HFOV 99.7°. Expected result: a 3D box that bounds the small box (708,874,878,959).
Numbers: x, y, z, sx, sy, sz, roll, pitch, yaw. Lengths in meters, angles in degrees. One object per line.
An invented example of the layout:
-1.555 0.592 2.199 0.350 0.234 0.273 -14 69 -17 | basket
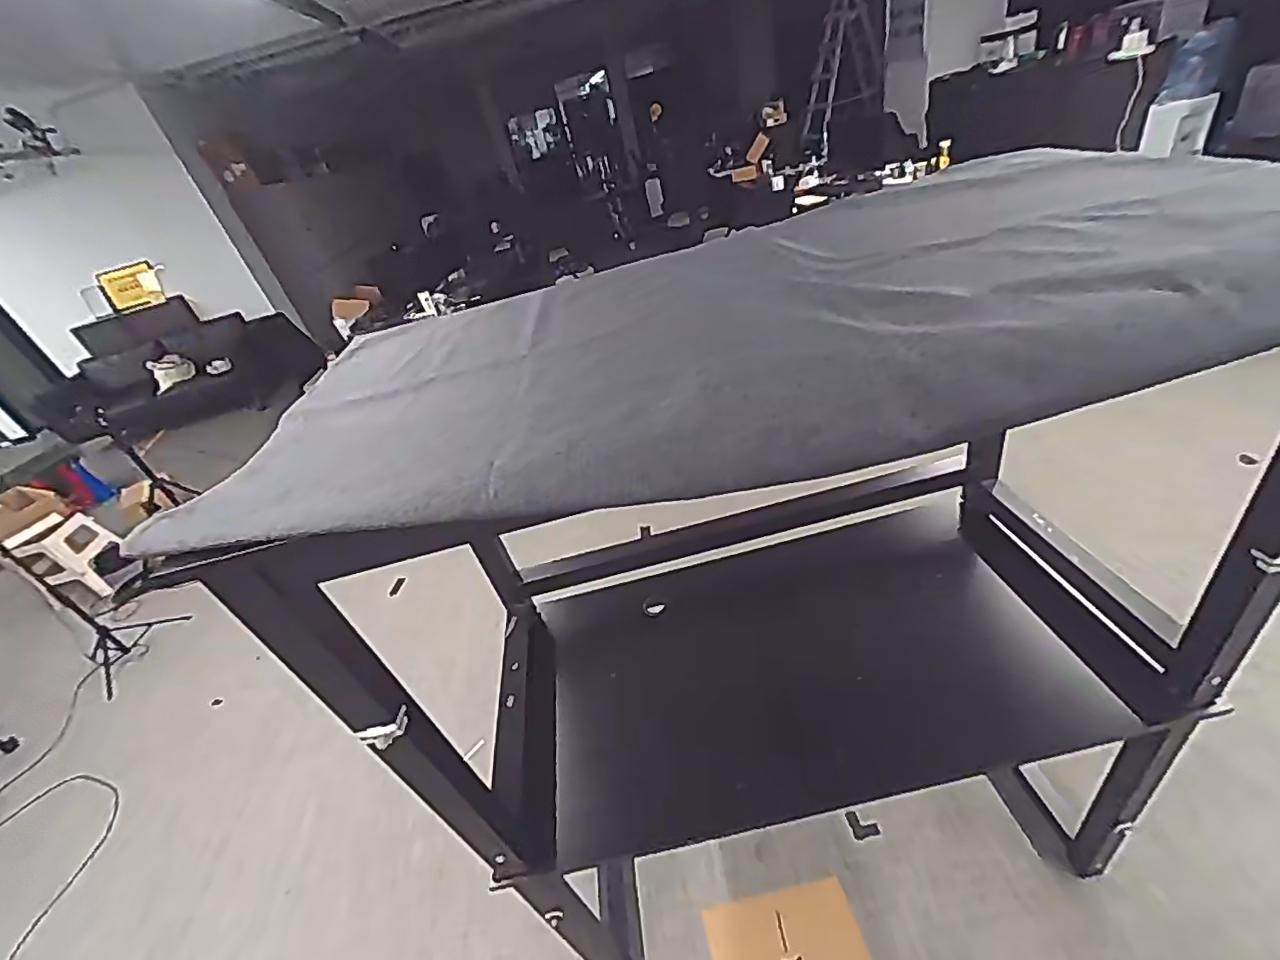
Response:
0.184 0.582 0.579 0.168 0.176 0.179 -15 20 0 | small box
